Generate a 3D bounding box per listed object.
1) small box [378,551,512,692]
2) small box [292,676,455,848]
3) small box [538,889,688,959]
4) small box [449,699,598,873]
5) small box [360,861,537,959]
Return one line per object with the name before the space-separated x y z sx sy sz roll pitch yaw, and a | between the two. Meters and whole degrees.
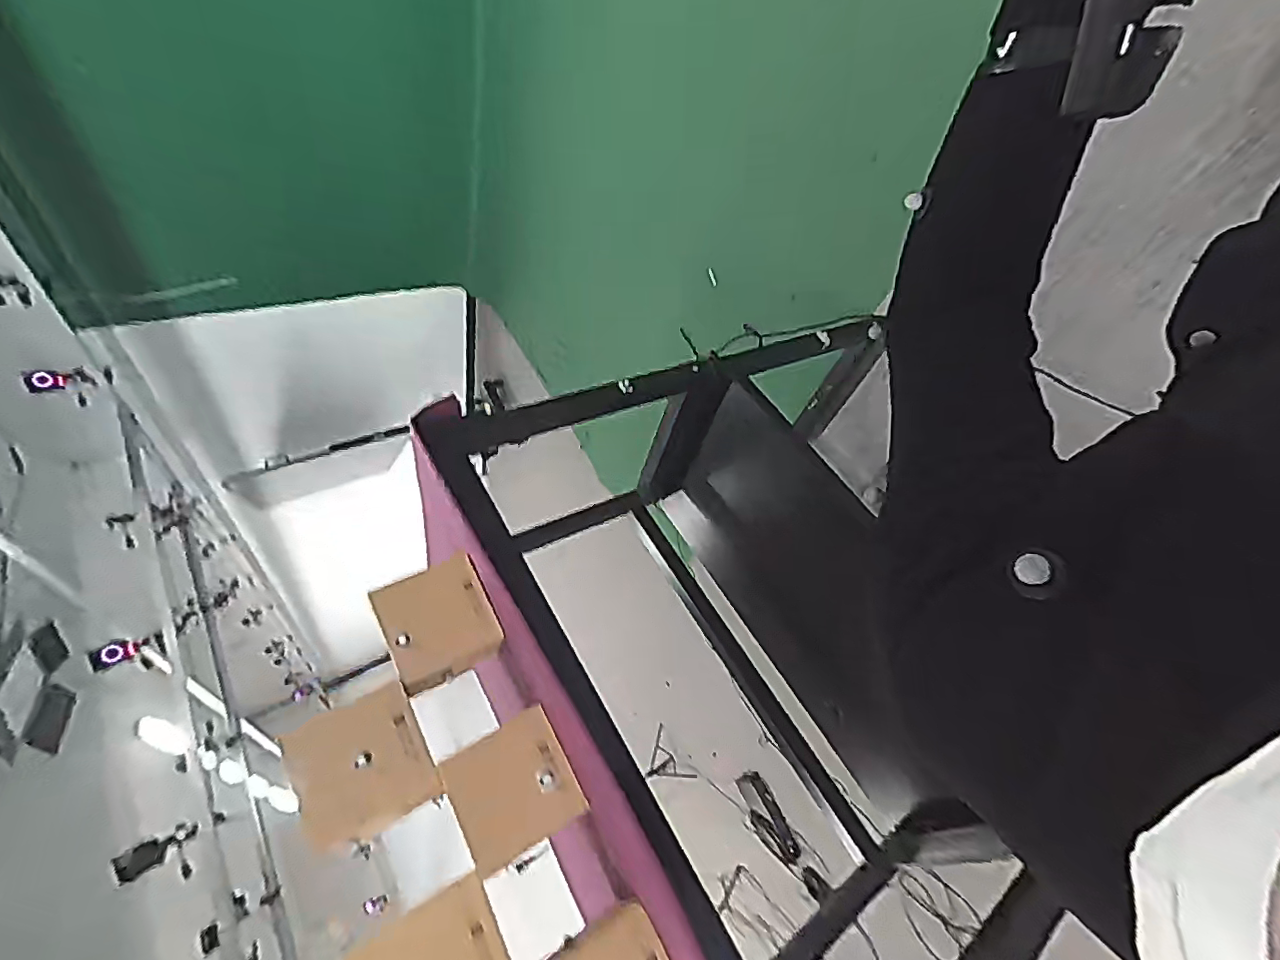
small box | -0.340 0.251 0.959 0.168 0.176 0.179 58 151 16
small box | -0.394 0.426 0.826 0.168 0.176 0.179 56 150 21
small box | -0.027 0.677 0.711 0.168 0.176 0.179 54 148 25
small box | -0.184 0.473 0.846 0.168 0.176 0.179 55 148 21
small box | -0.237 0.637 0.707 0.168 0.176 0.179 52 149 29
